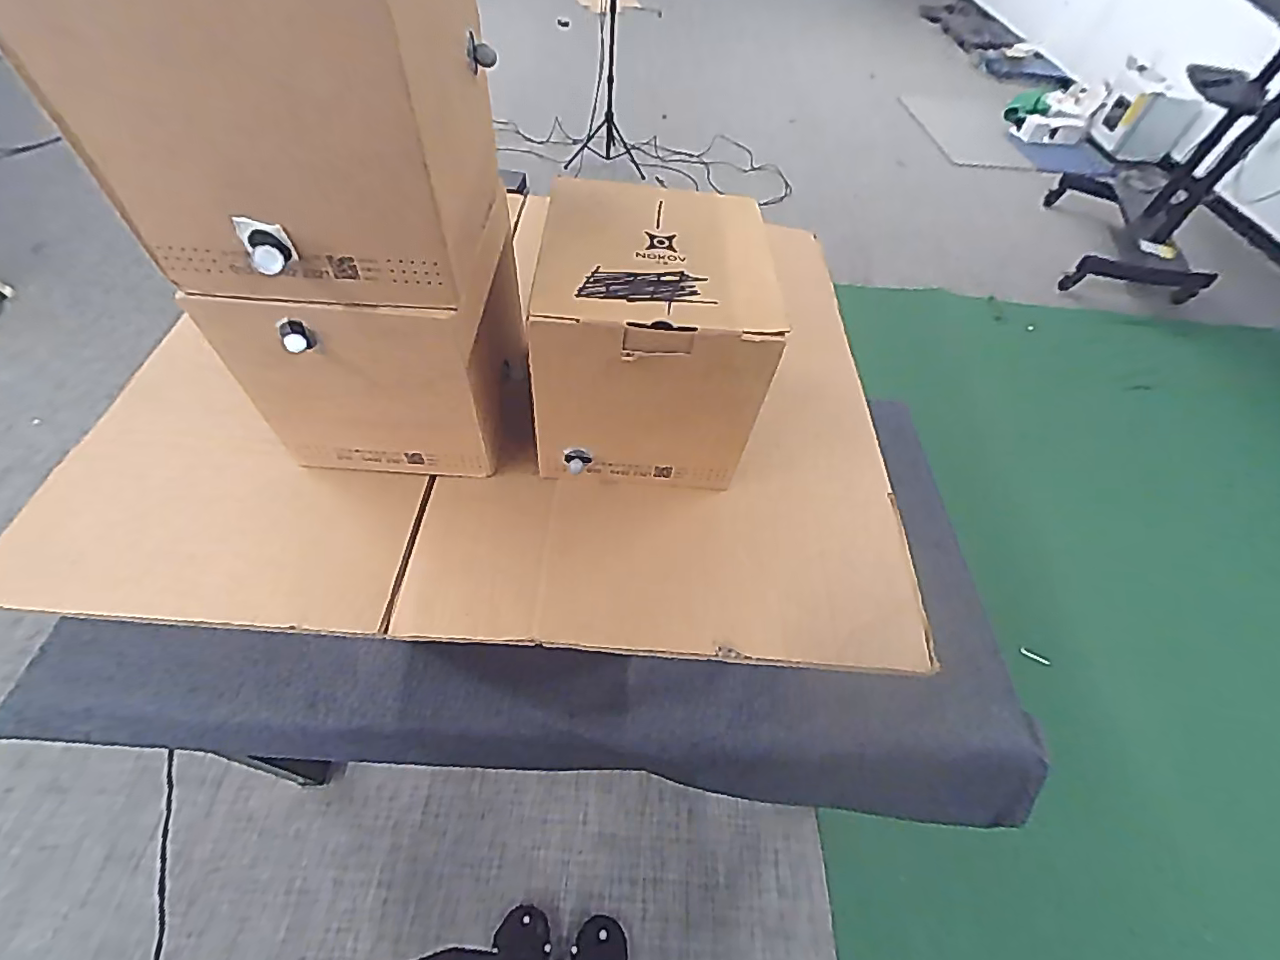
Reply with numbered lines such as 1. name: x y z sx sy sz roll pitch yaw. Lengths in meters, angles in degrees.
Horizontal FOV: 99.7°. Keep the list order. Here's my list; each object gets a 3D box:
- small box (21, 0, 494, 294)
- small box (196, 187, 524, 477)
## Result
1. small box: -0.184 -0.232 0.307 0.168 0.176 0.179 1 55 -4
2. small box: -0.196 -0.125 0.449 0.168 0.176 0.179 3 53 -1
